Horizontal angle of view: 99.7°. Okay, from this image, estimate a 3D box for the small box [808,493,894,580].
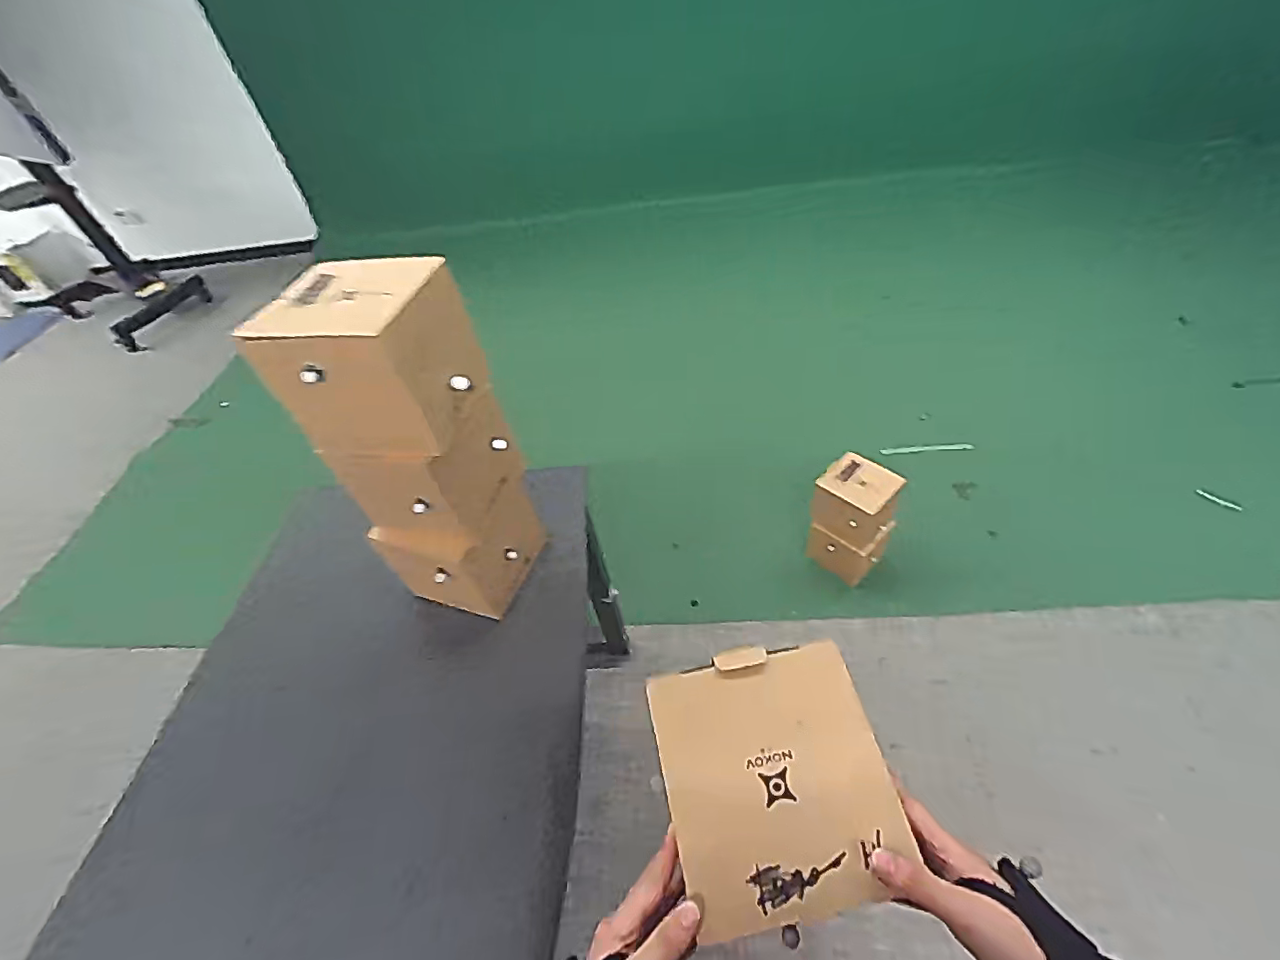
[{"bbox_3d":[0.633,0.178,1.638,0.168,0.176,0.179,-38,53,-23],"label":"small box"}]

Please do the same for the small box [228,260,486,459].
[{"bbox_3d":[-0.313,-0.139,0.641,0.179,0.176,0.168,2,48,12],"label":"small box"}]

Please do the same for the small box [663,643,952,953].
[{"bbox_3d":[0.115,0.262,0.463,0.168,0.176,0.179,-11,58,-3],"label":"small box"}]

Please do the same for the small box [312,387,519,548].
[{"bbox_3d":[-0.295,-0.023,0.757,0.179,0.176,0.168,5,48,18],"label":"small box"}]

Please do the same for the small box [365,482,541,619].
[{"bbox_3d":[-0.283,0.100,0.863,0.179,0.176,0.168,10,50,21],"label":"small box"}]
